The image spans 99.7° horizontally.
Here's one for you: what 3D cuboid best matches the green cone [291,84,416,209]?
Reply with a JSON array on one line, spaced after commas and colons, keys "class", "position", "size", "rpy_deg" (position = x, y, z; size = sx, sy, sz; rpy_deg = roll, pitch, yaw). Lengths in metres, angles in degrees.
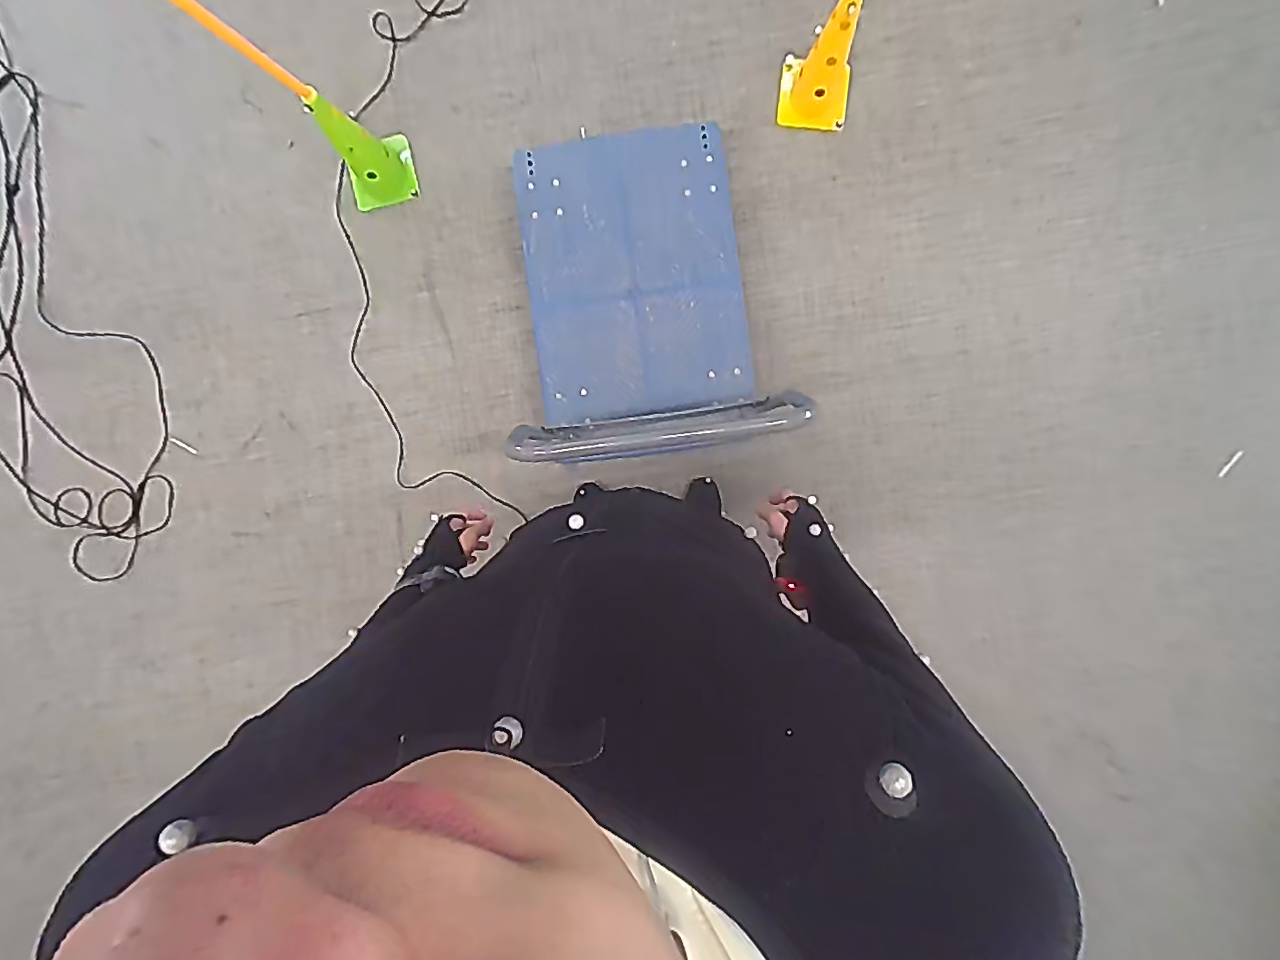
[{"class": "green cone", "position": [-0.812, -0.950, 1.489], "size": [0.202, 0.368, 0.200], "rpy_deg": [-14, 90, 4]}]
